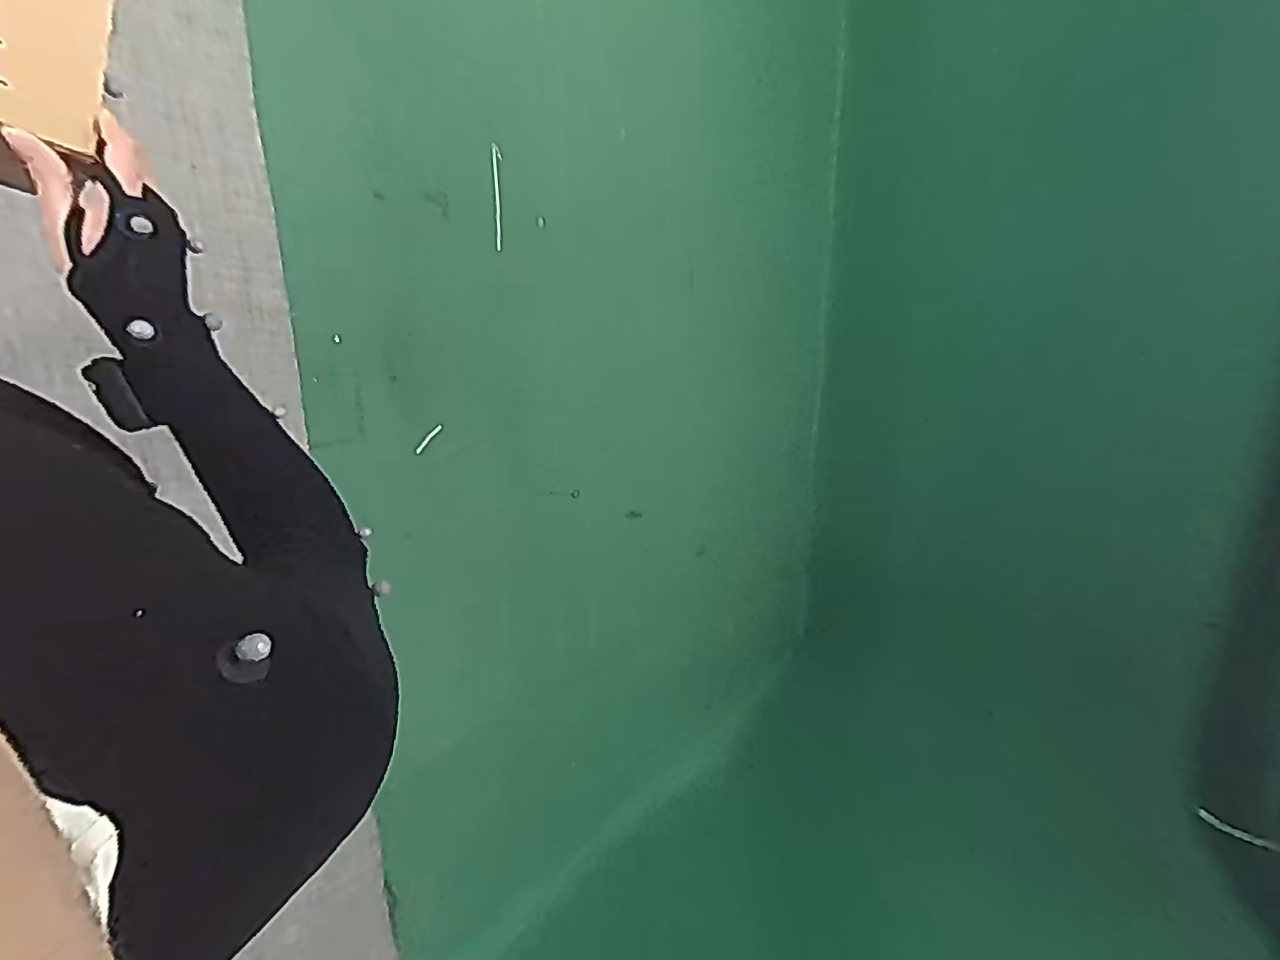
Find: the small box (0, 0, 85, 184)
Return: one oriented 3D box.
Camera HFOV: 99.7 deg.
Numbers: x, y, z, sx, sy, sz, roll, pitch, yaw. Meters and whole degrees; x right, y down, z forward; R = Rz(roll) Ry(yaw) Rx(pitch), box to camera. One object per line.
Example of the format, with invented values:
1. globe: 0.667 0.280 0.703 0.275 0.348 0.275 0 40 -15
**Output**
1. small box: -0.507 -0.339 0.372 0.168 0.176 0.179 6 91 -51
